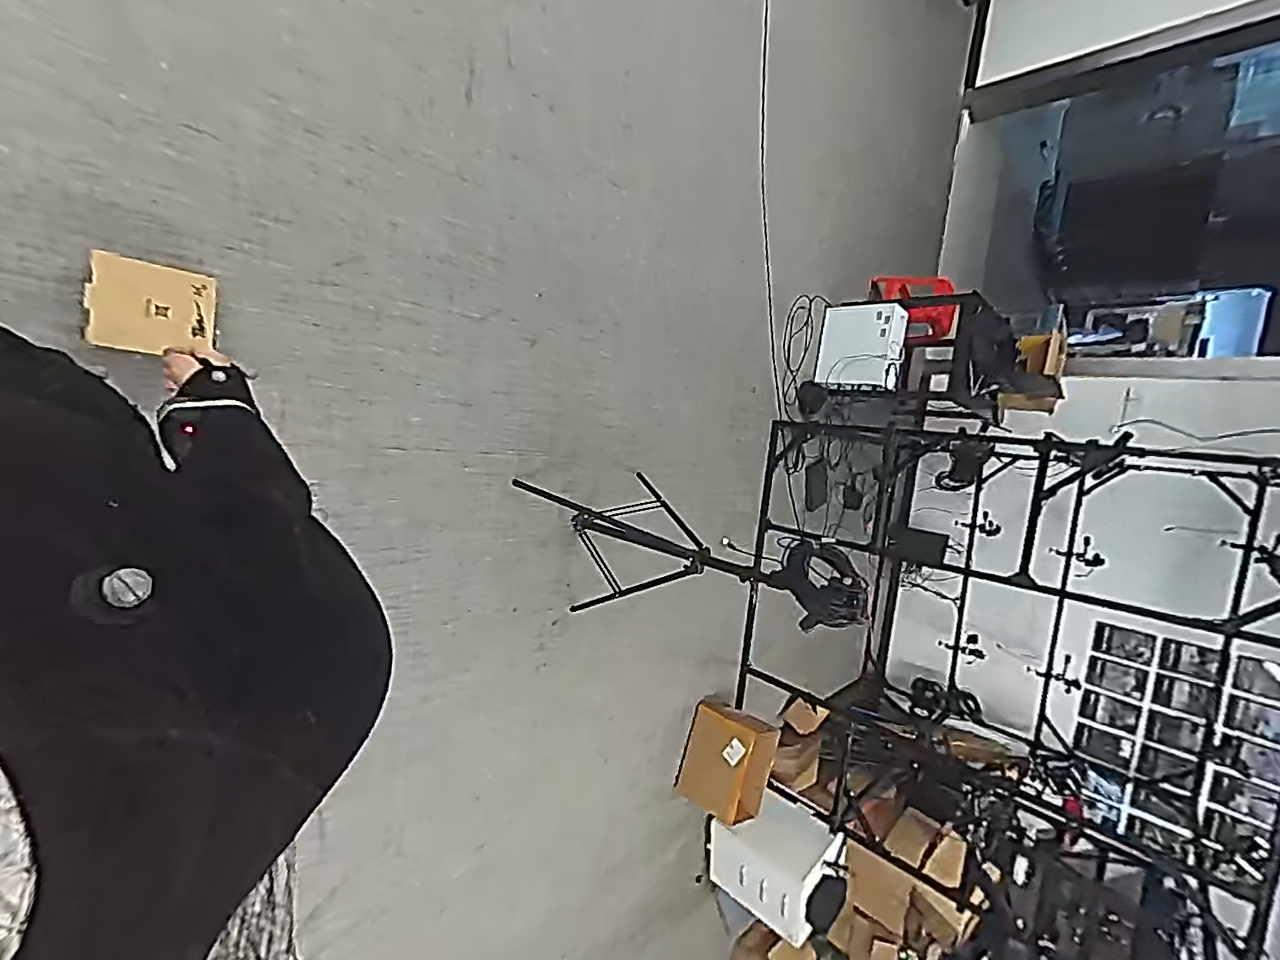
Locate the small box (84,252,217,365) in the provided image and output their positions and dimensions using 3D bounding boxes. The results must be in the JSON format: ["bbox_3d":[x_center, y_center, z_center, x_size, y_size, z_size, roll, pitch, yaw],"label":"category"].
[{"bbox_3d":[-0.953,-0.320,1.053,0.179,0.176,0.168,4,96,-46],"label":"small box"}]
